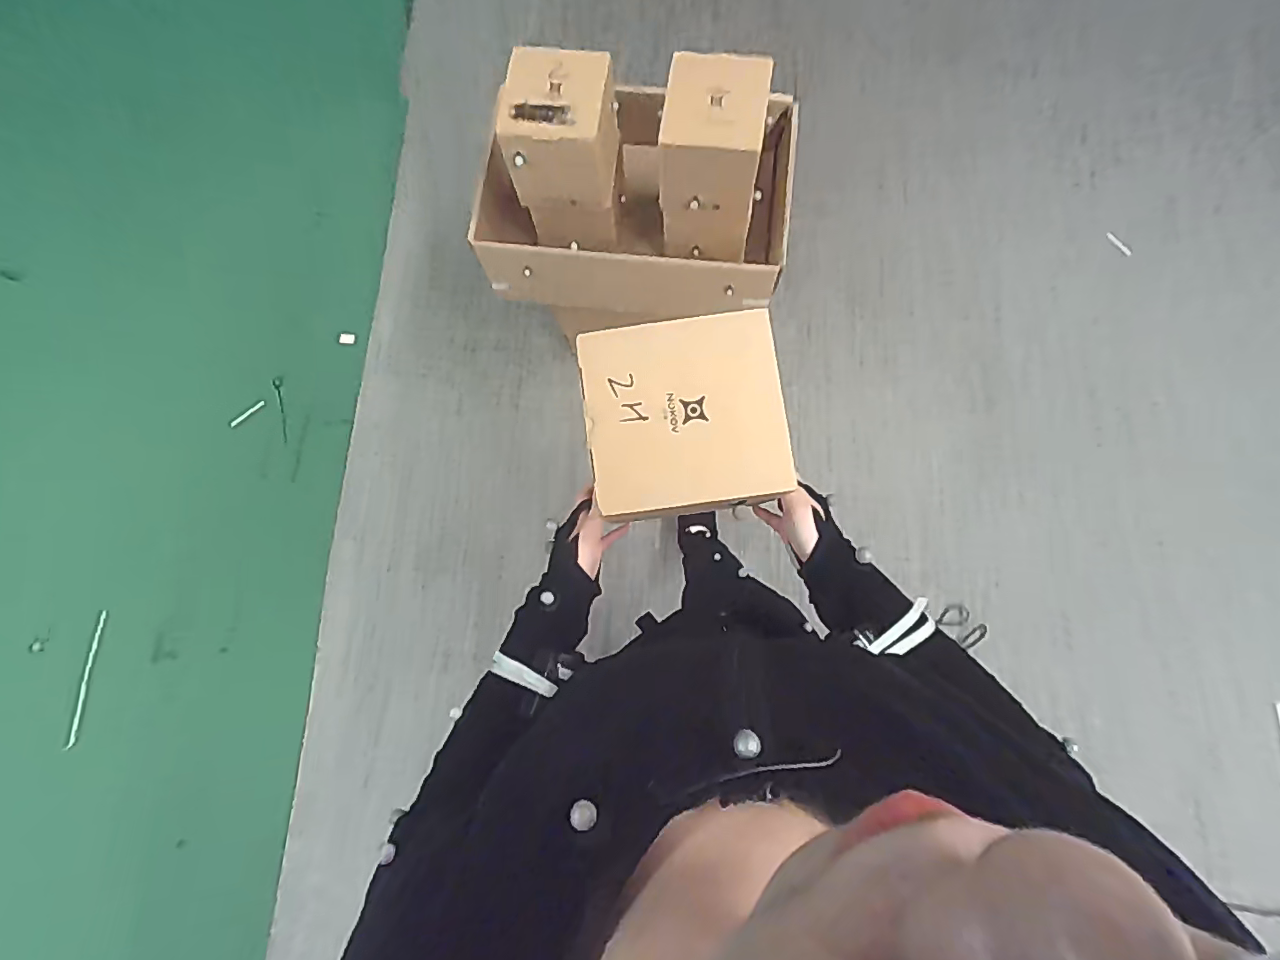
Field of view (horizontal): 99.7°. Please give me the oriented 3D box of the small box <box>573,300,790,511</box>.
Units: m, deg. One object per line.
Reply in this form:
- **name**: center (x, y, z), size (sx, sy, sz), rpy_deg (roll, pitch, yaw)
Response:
- **small box**: center (0.037, -0.061, 0.551), size (0.179, 0.176, 0.168), rpy_deg (-8, 83, 2)

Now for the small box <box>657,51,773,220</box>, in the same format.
- **small box**: center (0.124, -0.589, 0.939), size (0.168, 0.176, 0.179), rpy_deg (9, 80, 6)
